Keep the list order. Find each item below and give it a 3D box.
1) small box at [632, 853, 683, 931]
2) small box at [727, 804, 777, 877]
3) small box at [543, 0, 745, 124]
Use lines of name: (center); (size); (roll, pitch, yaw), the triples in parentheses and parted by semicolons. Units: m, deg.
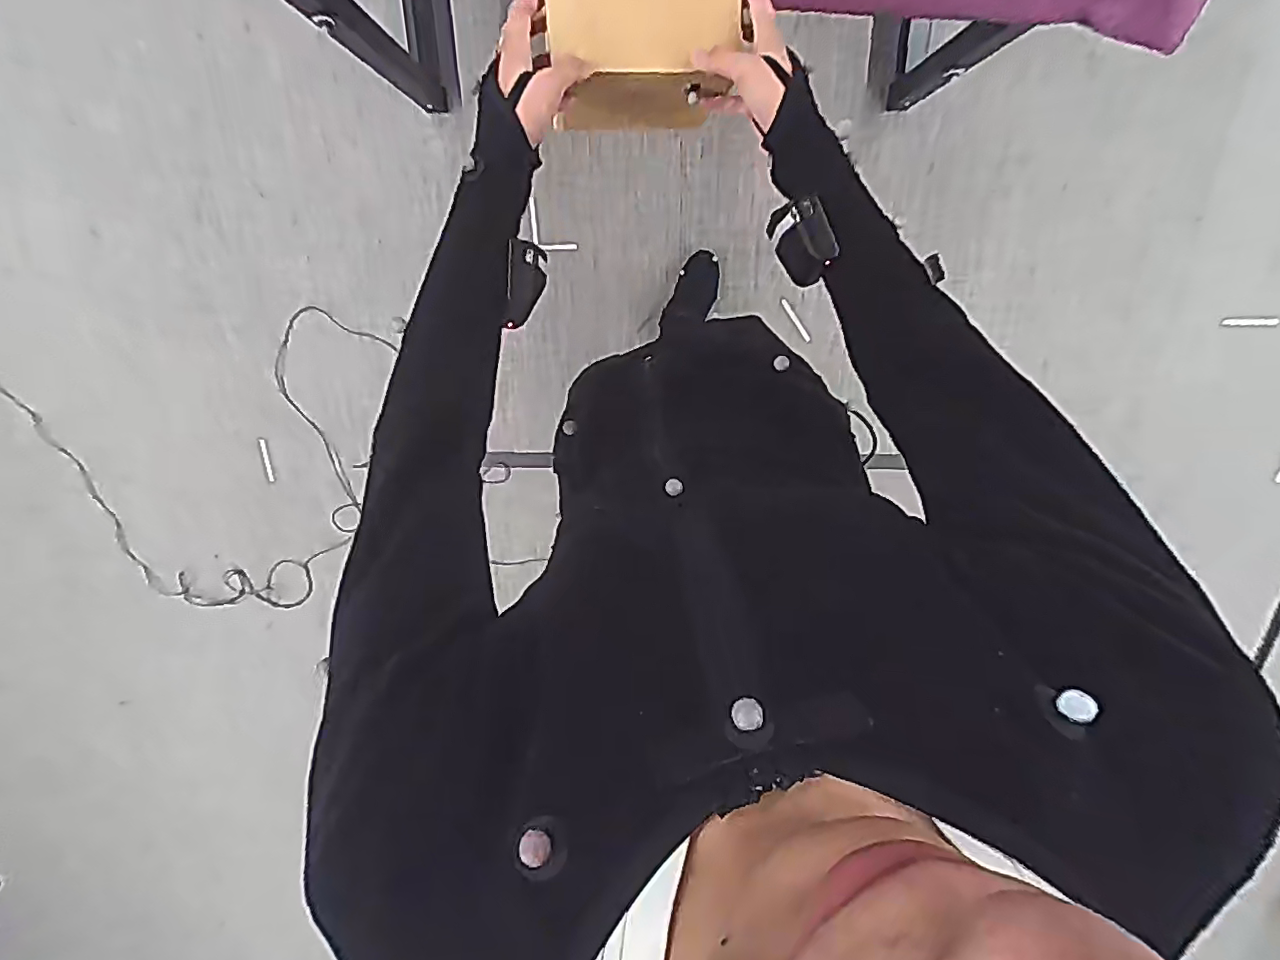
small box: (0.061, 1.501, 1.975); (0.179, 0.176, 0.168); (2, 111, 0)
small box: (0.440, 1.414, 2.123); (0.168, 0.176, 0.179); (-7, 110, 1)
small box: (-0.006, -0.465, 0.528); (0.179, 0.176, 0.168); (-5, 109, -7)
